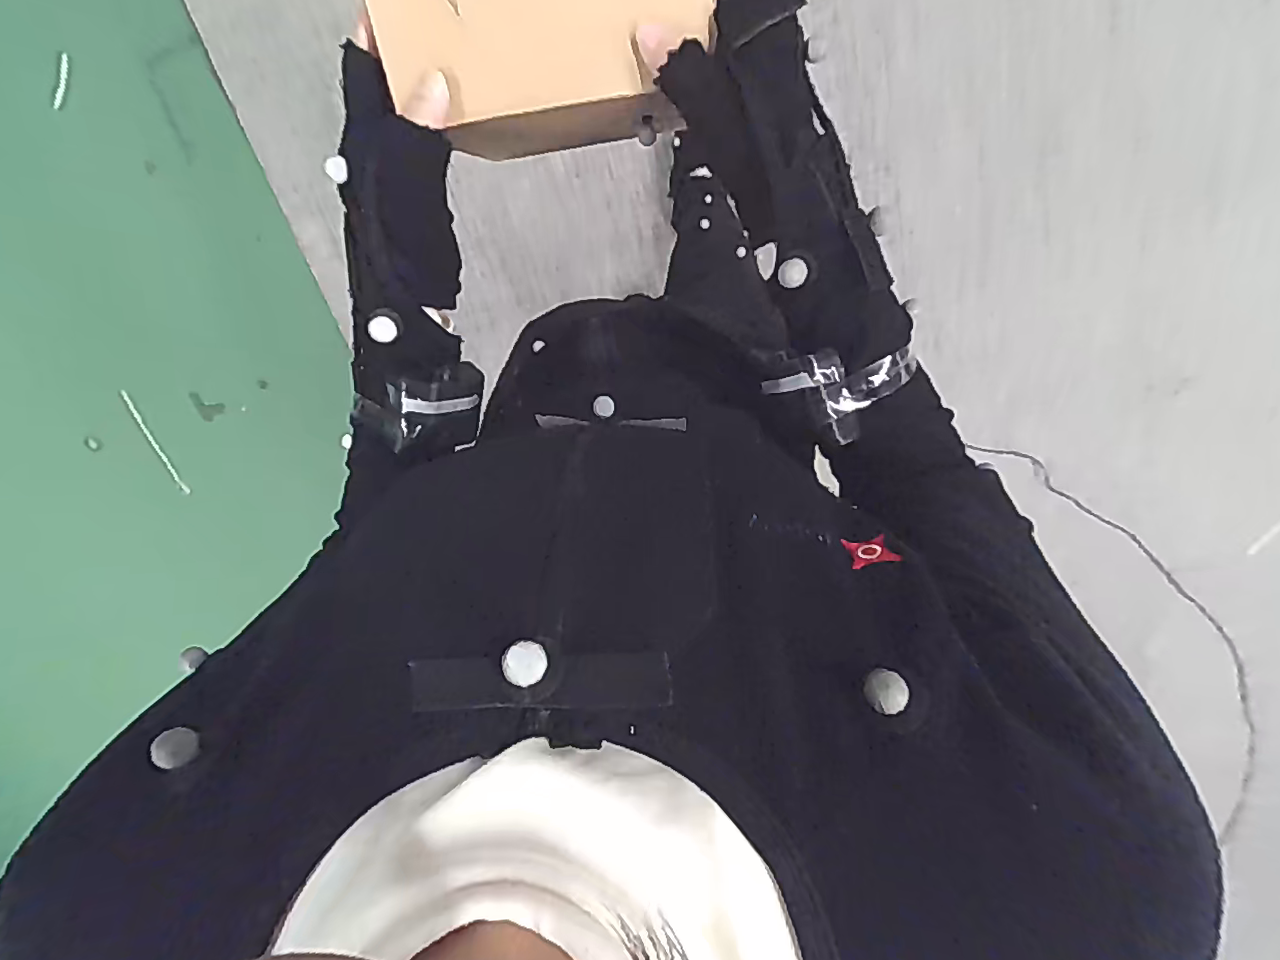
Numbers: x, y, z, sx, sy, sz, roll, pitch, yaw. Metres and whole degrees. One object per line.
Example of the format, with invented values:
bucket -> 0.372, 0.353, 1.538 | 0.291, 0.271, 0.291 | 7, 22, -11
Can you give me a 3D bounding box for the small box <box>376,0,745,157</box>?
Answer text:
small box -> -0.047, -0.305, 0.314 | 0.179, 0.176, 0.168 | -10, 115, 8
